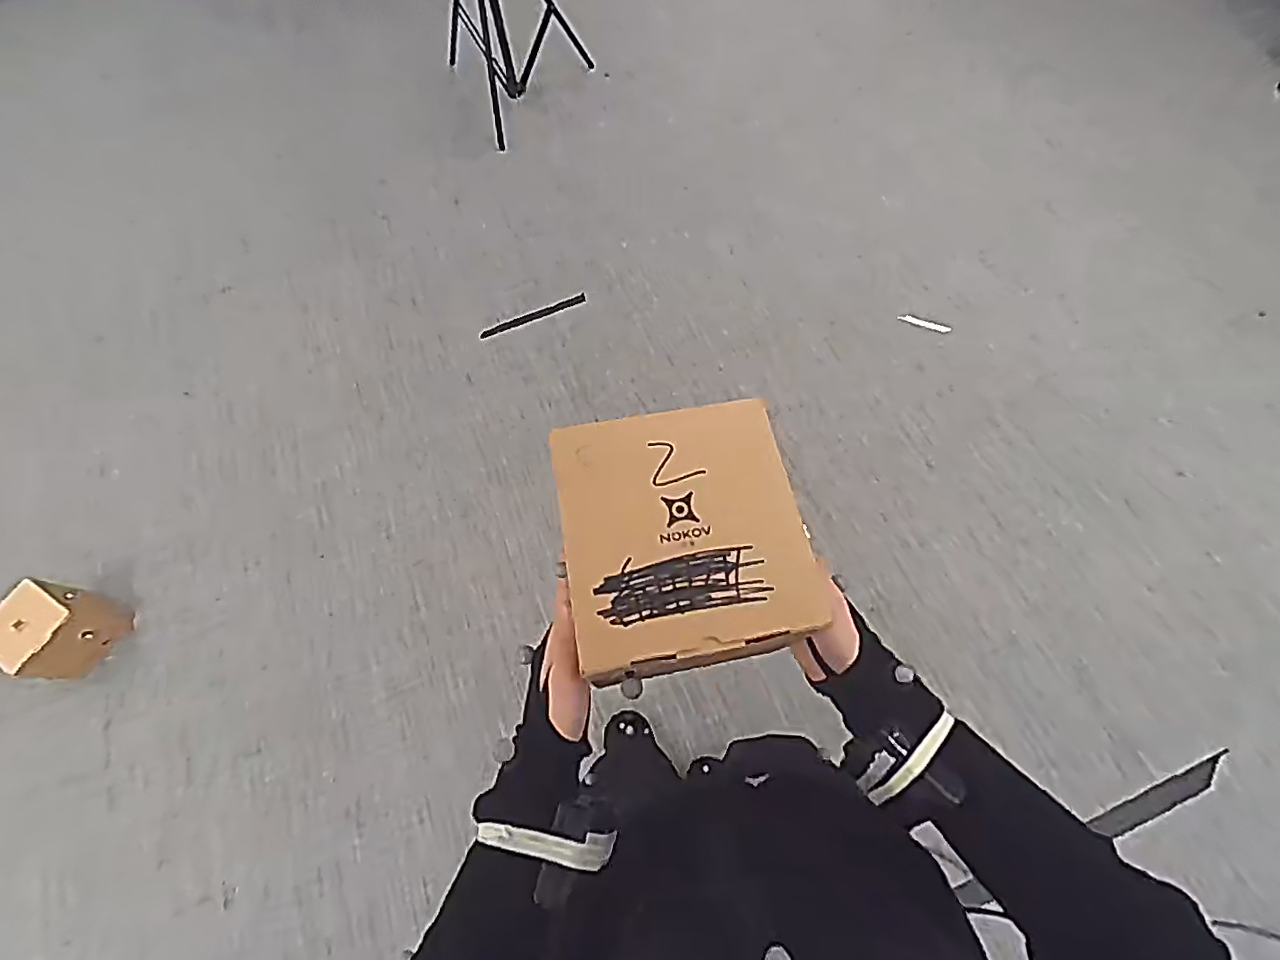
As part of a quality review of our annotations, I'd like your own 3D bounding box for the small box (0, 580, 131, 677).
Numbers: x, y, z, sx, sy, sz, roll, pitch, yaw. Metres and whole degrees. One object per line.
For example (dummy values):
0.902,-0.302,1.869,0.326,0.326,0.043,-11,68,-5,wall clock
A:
-1.455,0.377,1.352,0.179,0.176,0.168,27,70,14,small box
